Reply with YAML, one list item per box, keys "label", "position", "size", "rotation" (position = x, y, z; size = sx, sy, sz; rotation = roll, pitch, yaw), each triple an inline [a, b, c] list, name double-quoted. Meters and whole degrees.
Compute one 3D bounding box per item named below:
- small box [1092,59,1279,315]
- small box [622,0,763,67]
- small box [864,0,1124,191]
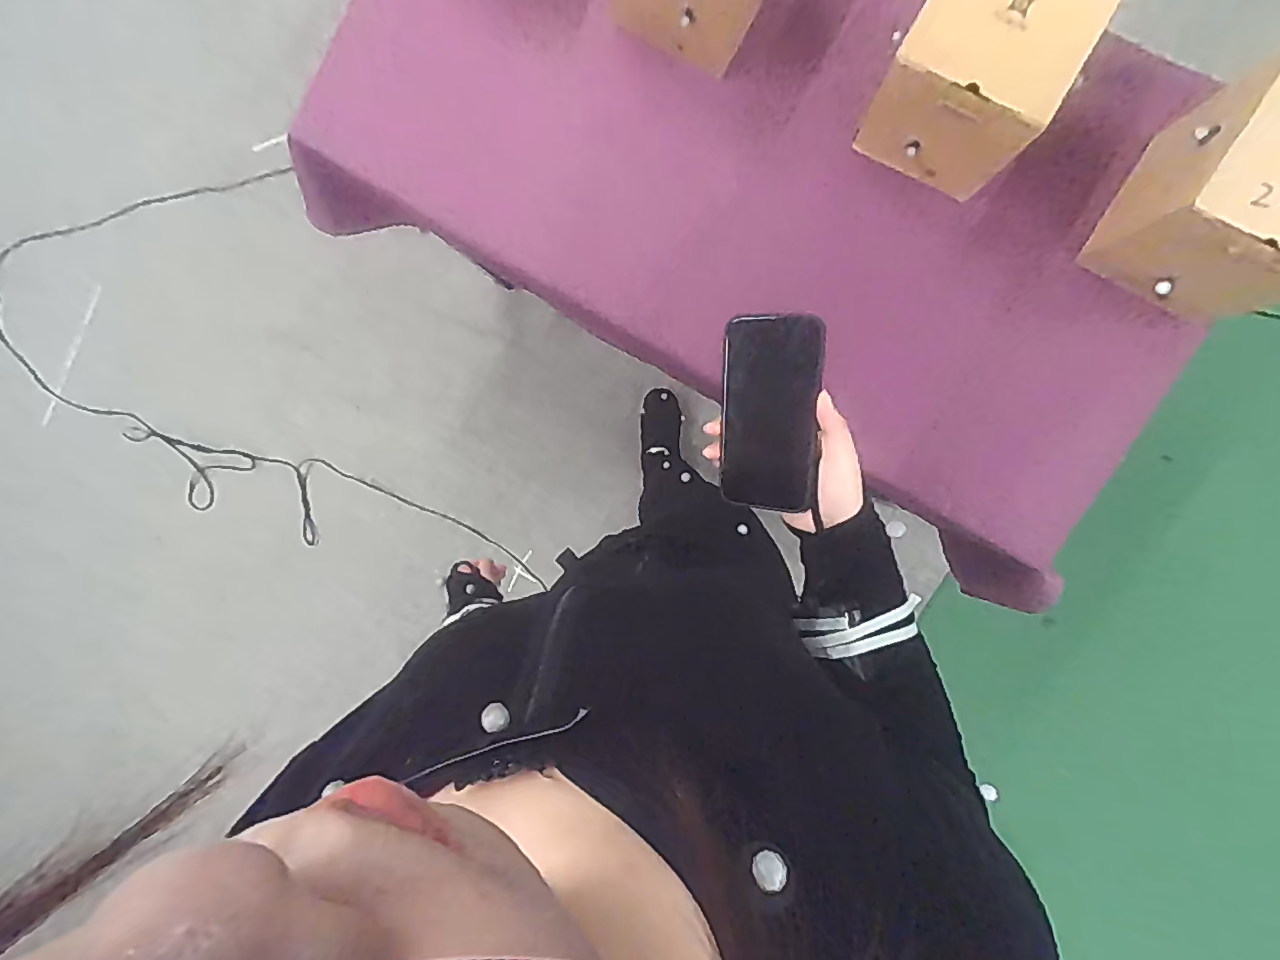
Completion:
- label: "small box"
  position: [0.652, -0.306, 0.580]
  size: [0.168, 0.176, 0.179]
  rotation: [31, 97, 4]
- label: "small box"
  position: [0.073, -0.637, 0.622]
  size: [0.168, 0.176, 0.179]
  rotation: [31, 97, 2]
- label: "small box"
  position: [0.379, -0.469, 0.601]
  size: [0.168, 0.176, 0.179]
  rotation: [29, 98, 3]
